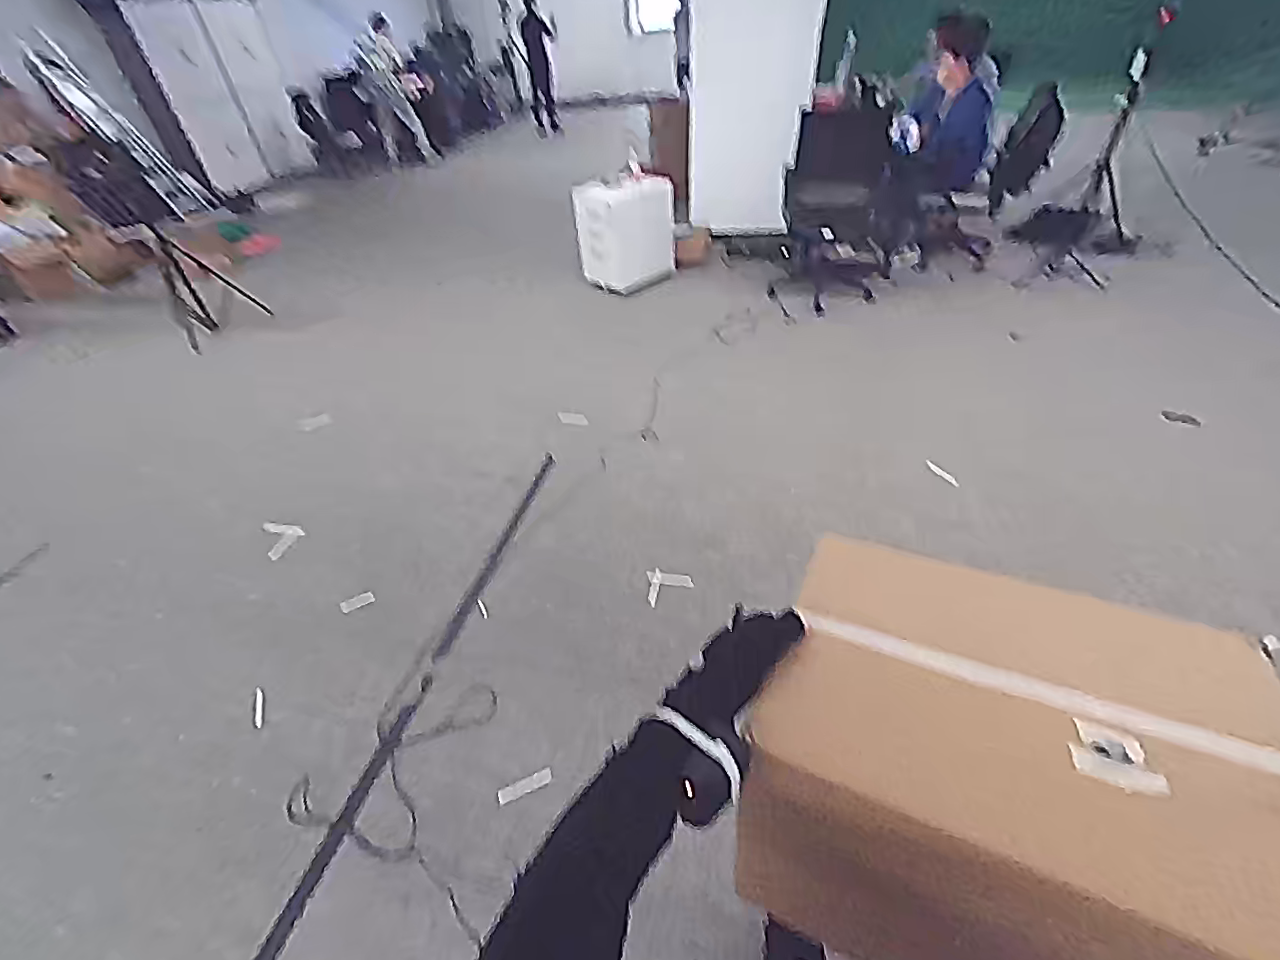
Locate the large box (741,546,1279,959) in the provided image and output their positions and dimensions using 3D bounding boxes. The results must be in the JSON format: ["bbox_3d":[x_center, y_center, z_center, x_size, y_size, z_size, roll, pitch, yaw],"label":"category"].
[{"bbox_3d":[0.350,0.323,0.579,0.408,0.320,0.320,14,37,26],"label":"large box"}]
